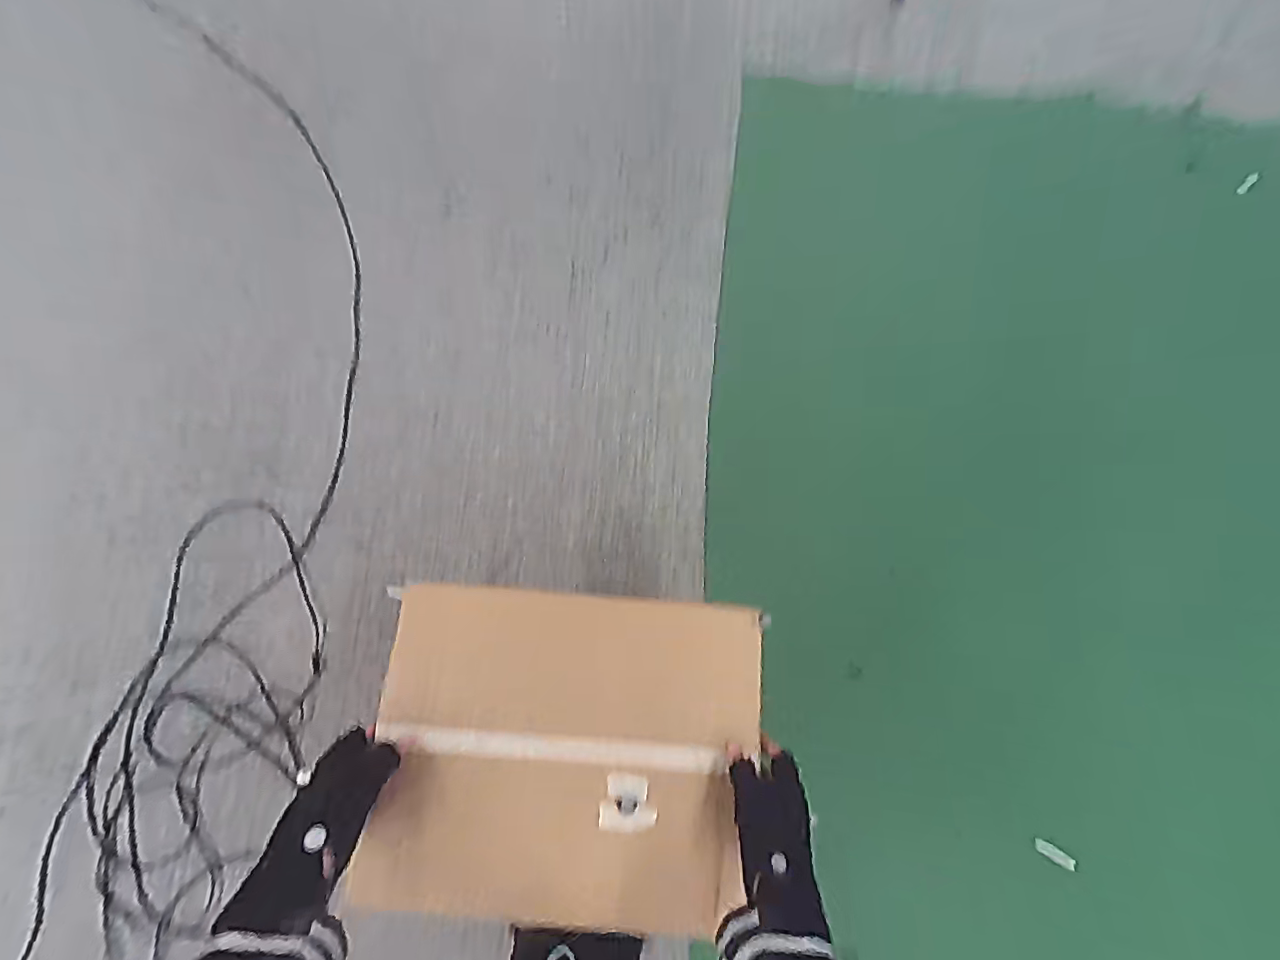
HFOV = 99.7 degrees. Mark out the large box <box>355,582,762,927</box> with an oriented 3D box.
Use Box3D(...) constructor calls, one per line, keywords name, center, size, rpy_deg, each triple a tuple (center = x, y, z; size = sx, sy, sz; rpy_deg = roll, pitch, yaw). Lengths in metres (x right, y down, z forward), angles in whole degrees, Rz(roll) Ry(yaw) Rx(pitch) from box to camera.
Box3D(name="large box", center=(-0.075, 0.325, 0.711), size=(0.408, 0.320, 0.320), rpy_deg=(5, 72, 0))
